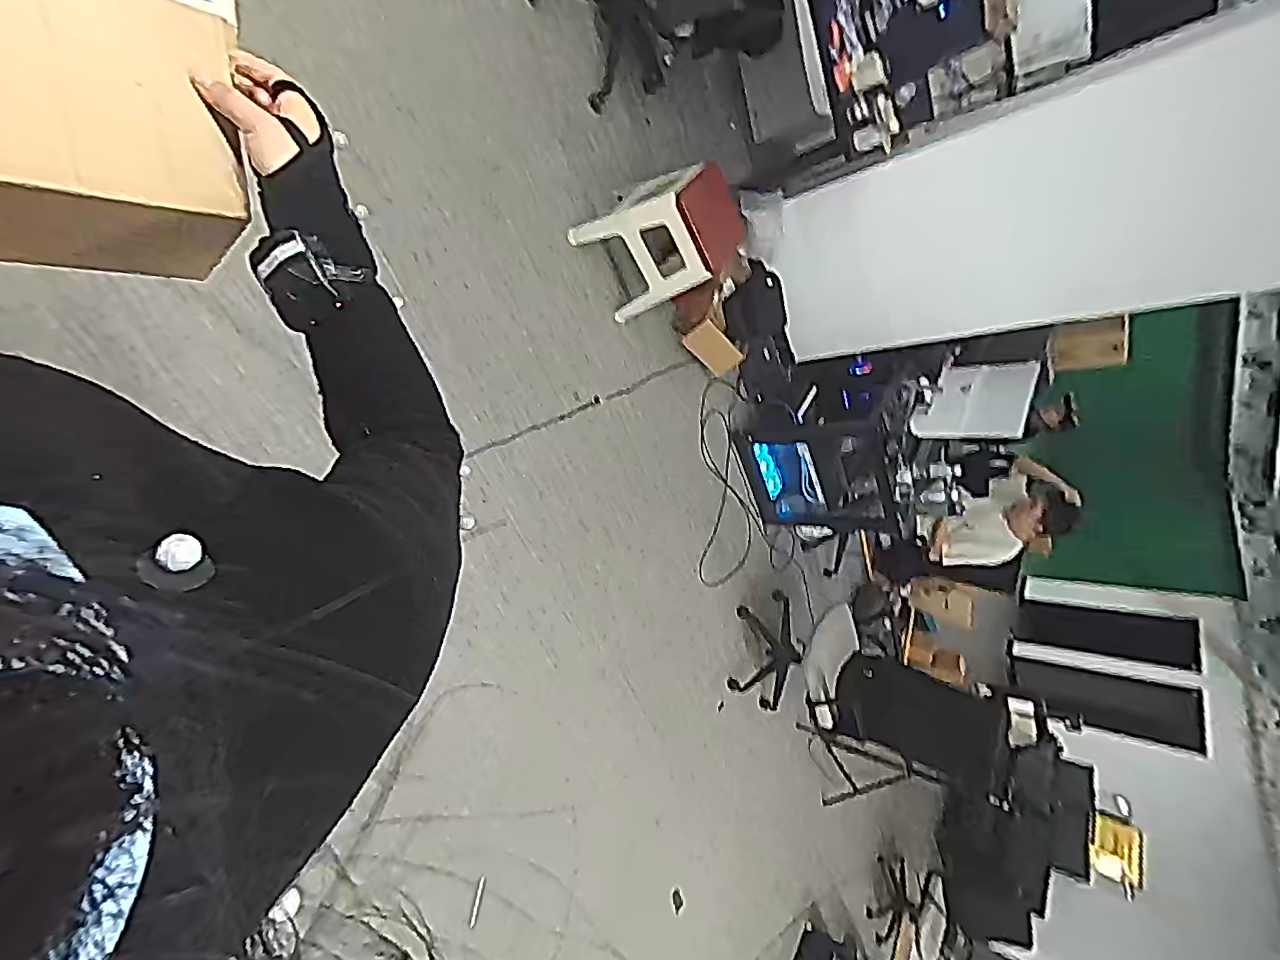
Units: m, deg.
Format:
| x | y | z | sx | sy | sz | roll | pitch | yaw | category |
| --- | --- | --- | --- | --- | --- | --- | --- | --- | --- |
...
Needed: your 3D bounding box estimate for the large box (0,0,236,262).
| x | y | z | sx | sy | sz | roll | pitch | yaw | category |
| --- | --- | --- | --- | --- | --- | --- | --- | --- | --- |
| -0.584 | -0.362 | 0.394 | 0.408 | 0.320 | 0.320 | -12 | 103 | -42 | large box |
